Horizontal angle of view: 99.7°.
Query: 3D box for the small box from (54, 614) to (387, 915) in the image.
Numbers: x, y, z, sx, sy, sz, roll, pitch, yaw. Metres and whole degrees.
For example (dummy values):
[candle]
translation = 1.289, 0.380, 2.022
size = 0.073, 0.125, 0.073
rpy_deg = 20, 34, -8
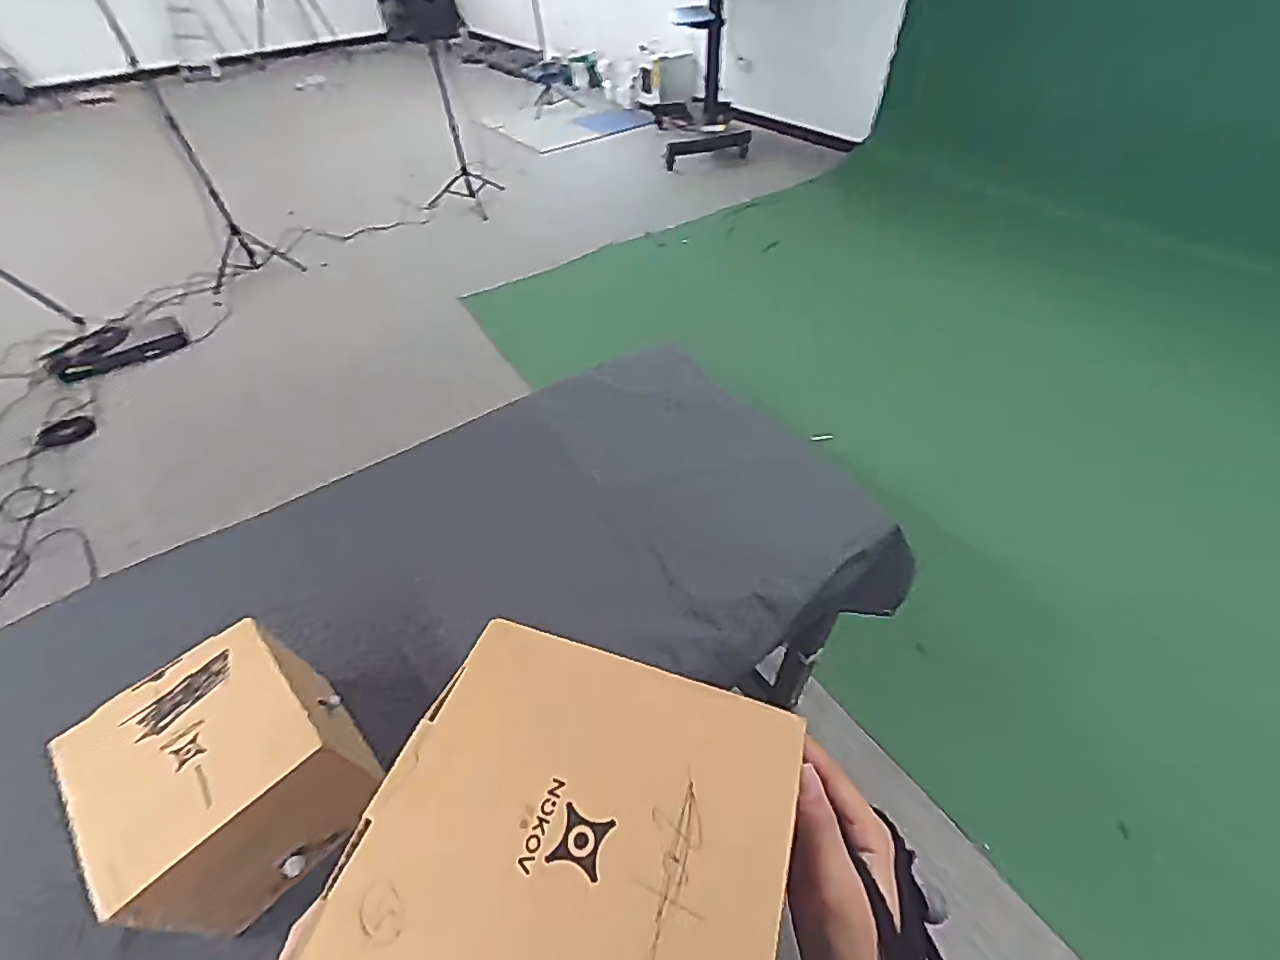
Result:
[small box]
translation = -0.380, 0.271, 0.516
size = 0.179, 0.176, 0.168
rpy_deg = 35, 59, 28
